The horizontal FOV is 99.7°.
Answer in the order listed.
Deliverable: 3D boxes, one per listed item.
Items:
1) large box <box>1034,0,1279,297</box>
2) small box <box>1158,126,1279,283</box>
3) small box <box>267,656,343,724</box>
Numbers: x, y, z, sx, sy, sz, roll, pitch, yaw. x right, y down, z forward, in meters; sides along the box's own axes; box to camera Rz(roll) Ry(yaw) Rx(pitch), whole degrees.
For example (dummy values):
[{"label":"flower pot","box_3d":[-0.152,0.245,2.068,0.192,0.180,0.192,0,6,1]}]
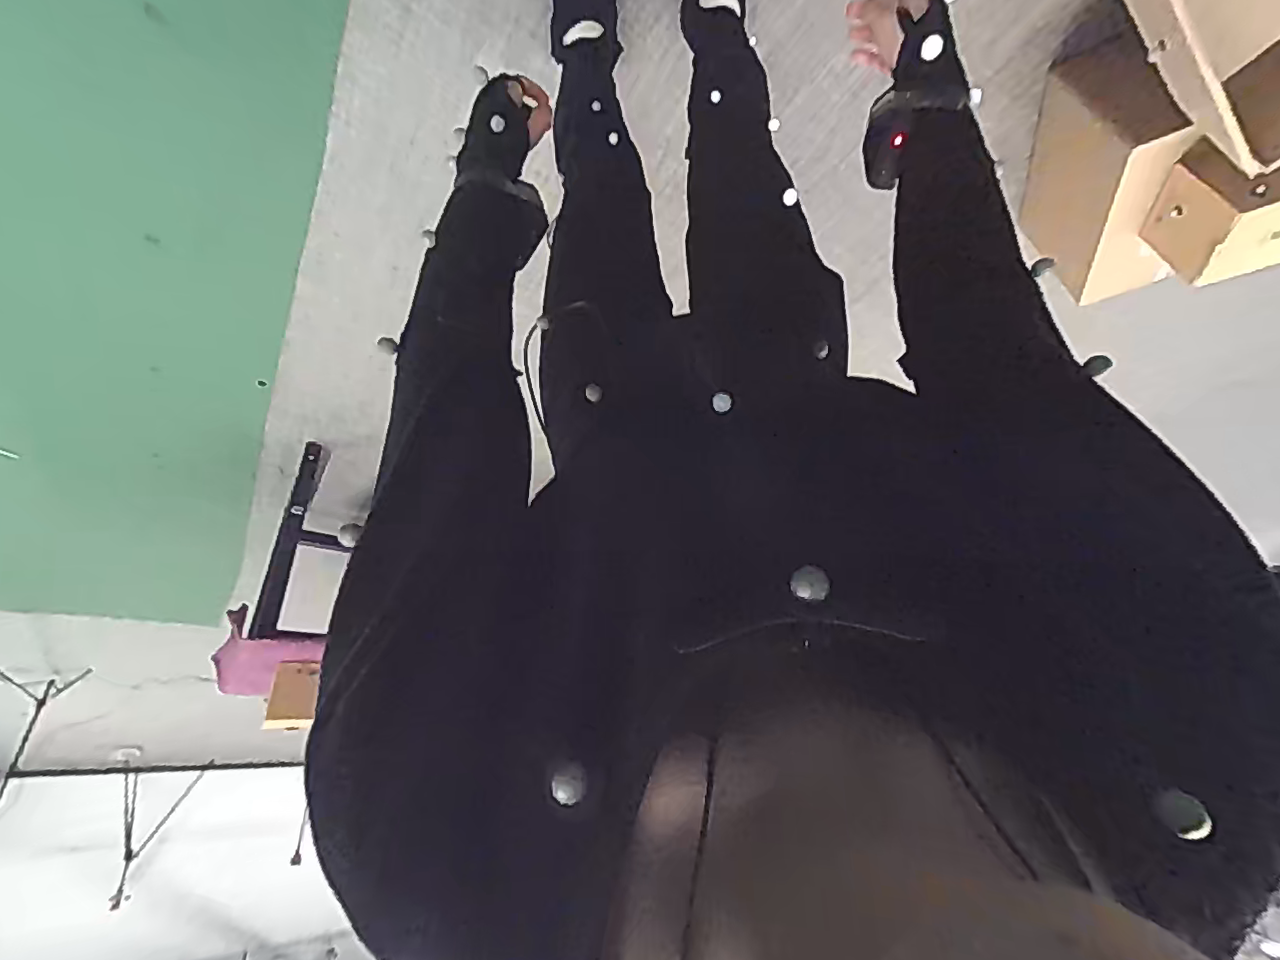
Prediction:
[{"label":"large box","box_3d":[1.075,-0.674,1.108,0.320,0.320,0.408,-17,148,19]},{"label":"small box","box_3d":[1.085,-0.488,0.945,0.179,0.176,0.168,-16,148,15]},{"label":"small box","box_3d":[-1.038,0.657,1.682,0.168,0.176,0.179,14,145,-31]}]
